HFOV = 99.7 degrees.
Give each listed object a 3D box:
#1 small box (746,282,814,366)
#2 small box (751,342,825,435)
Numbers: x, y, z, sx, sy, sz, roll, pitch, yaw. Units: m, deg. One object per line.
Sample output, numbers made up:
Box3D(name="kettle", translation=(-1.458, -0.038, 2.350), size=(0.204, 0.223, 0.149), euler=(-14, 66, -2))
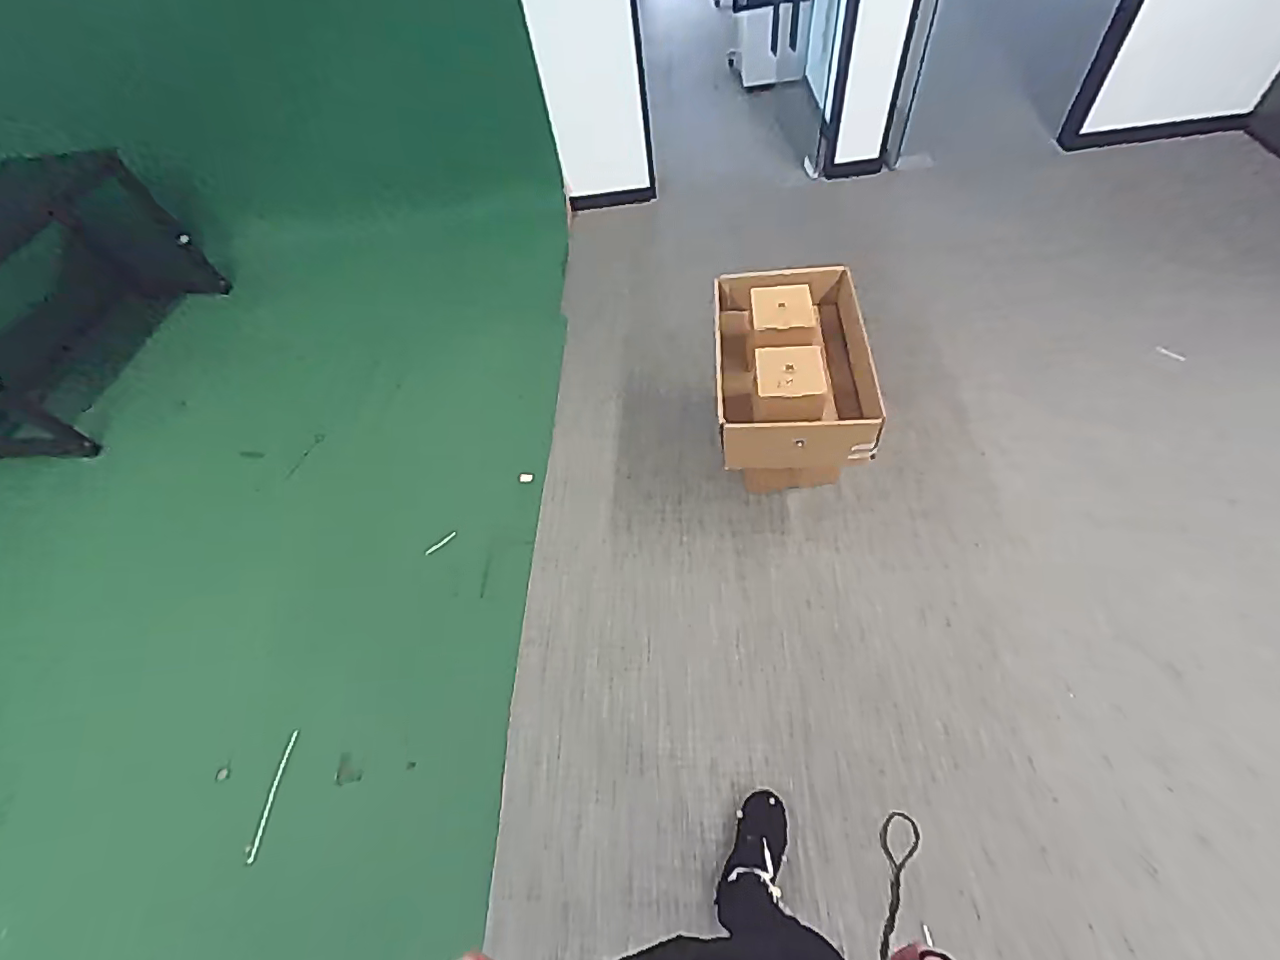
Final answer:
Box3D(name="small box", translation=(0.399, -0.447, 1.569), size=(0.168, 0.176, 0.179), euler=(-2, 57, 7))
Box3D(name="small box", translation=(0.381, -0.239, 1.421), size=(0.168, 0.176, 0.179), euler=(-1, 55, 9))
